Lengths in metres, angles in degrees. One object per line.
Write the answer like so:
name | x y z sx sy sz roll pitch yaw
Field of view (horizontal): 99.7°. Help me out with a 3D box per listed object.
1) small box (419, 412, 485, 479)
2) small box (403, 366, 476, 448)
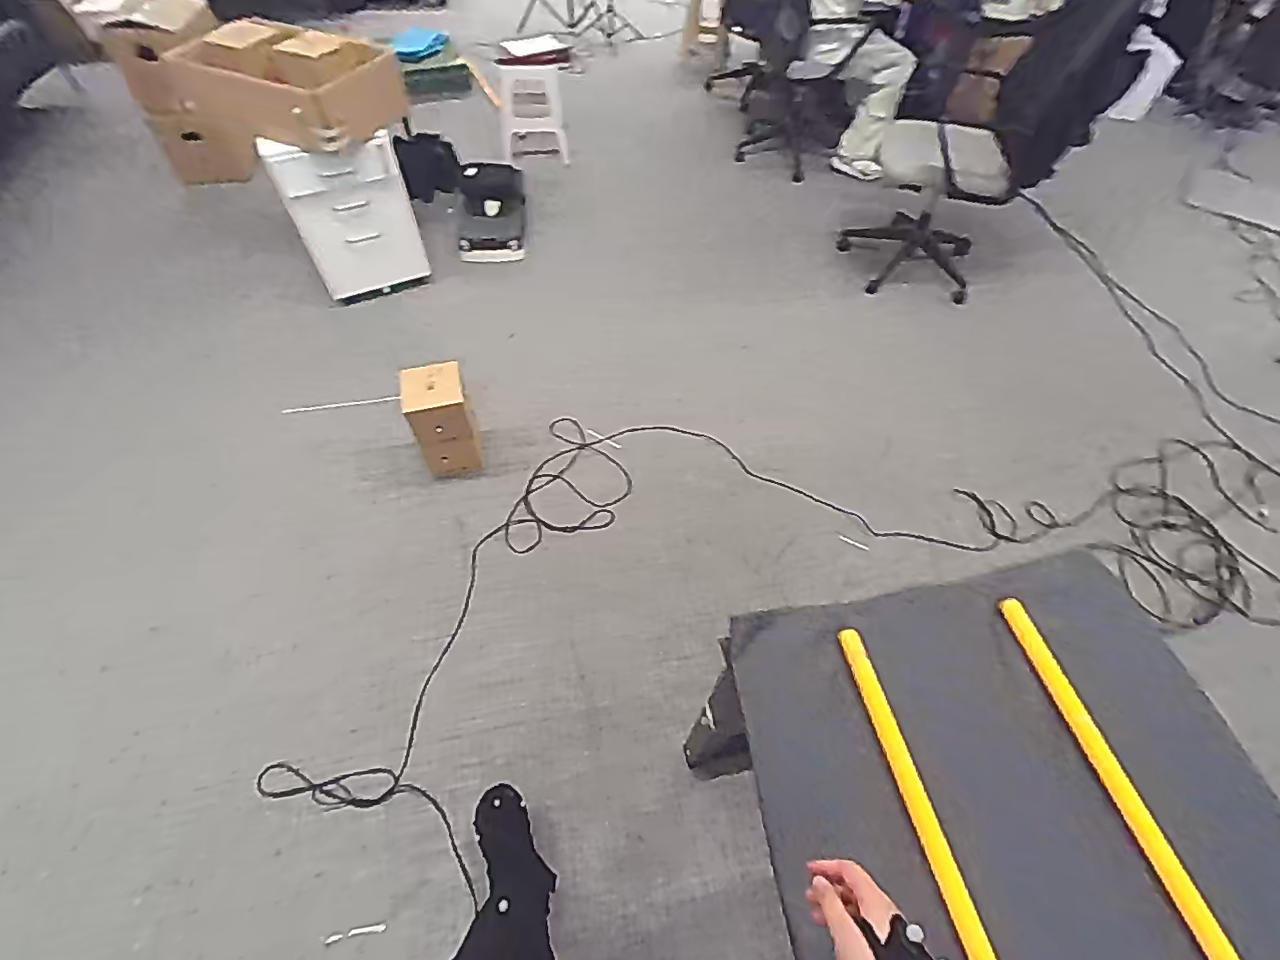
small box | -0.609 -0.120 1.756 0.168 0.176 0.179 -11 55 -9
small box | -0.598 -0.211 1.618 0.168 0.176 0.179 -12 55 -11
